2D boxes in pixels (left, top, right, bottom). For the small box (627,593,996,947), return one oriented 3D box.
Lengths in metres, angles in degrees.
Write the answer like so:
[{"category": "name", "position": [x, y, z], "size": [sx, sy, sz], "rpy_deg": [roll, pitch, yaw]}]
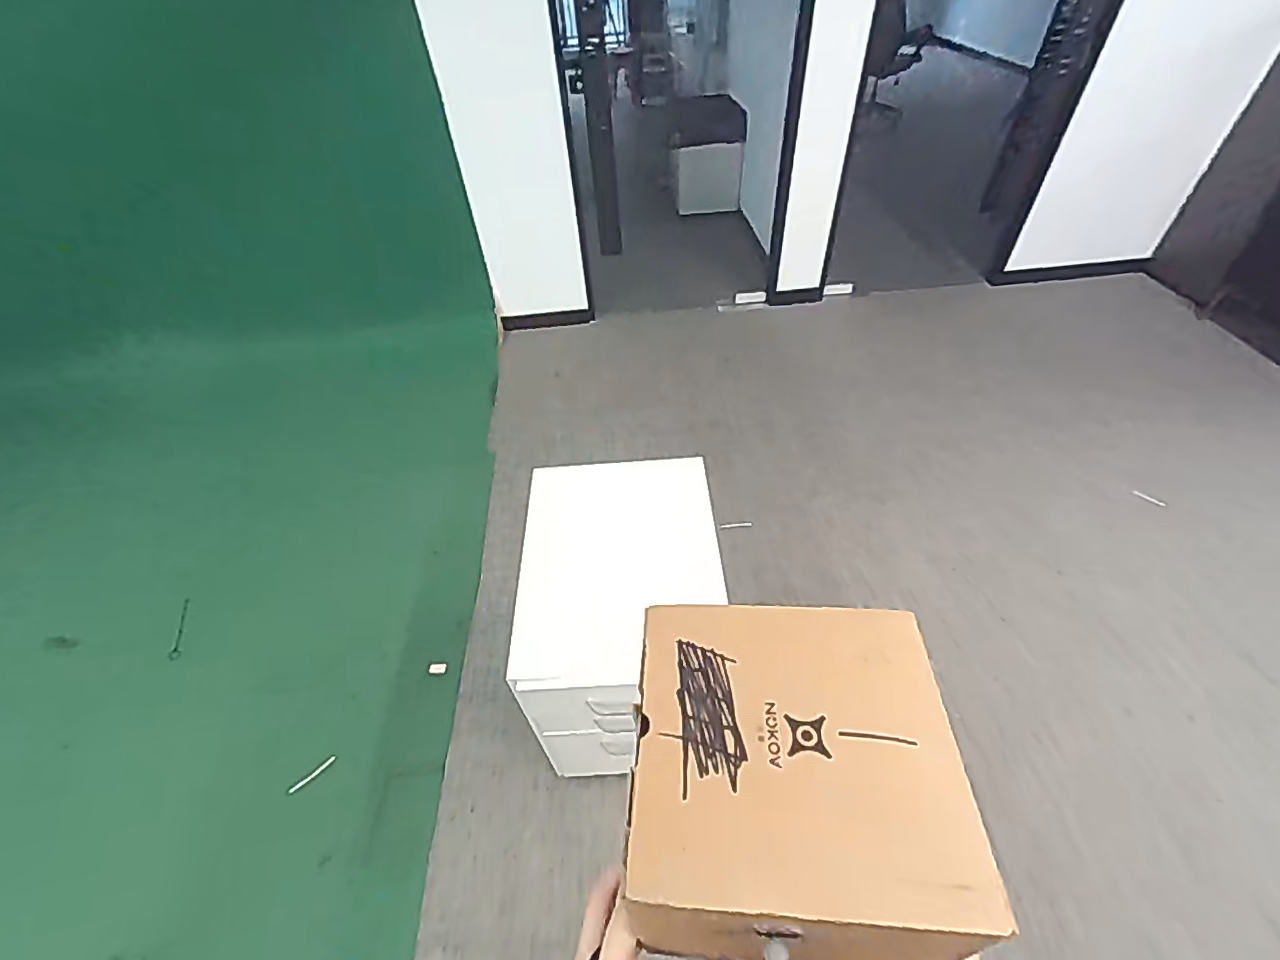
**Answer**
[{"category": "small box", "position": [0.092, 0.196, 0.369], "size": [0.179, 0.176, 0.168], "rpy_deg": [1, 44, 6]}]
